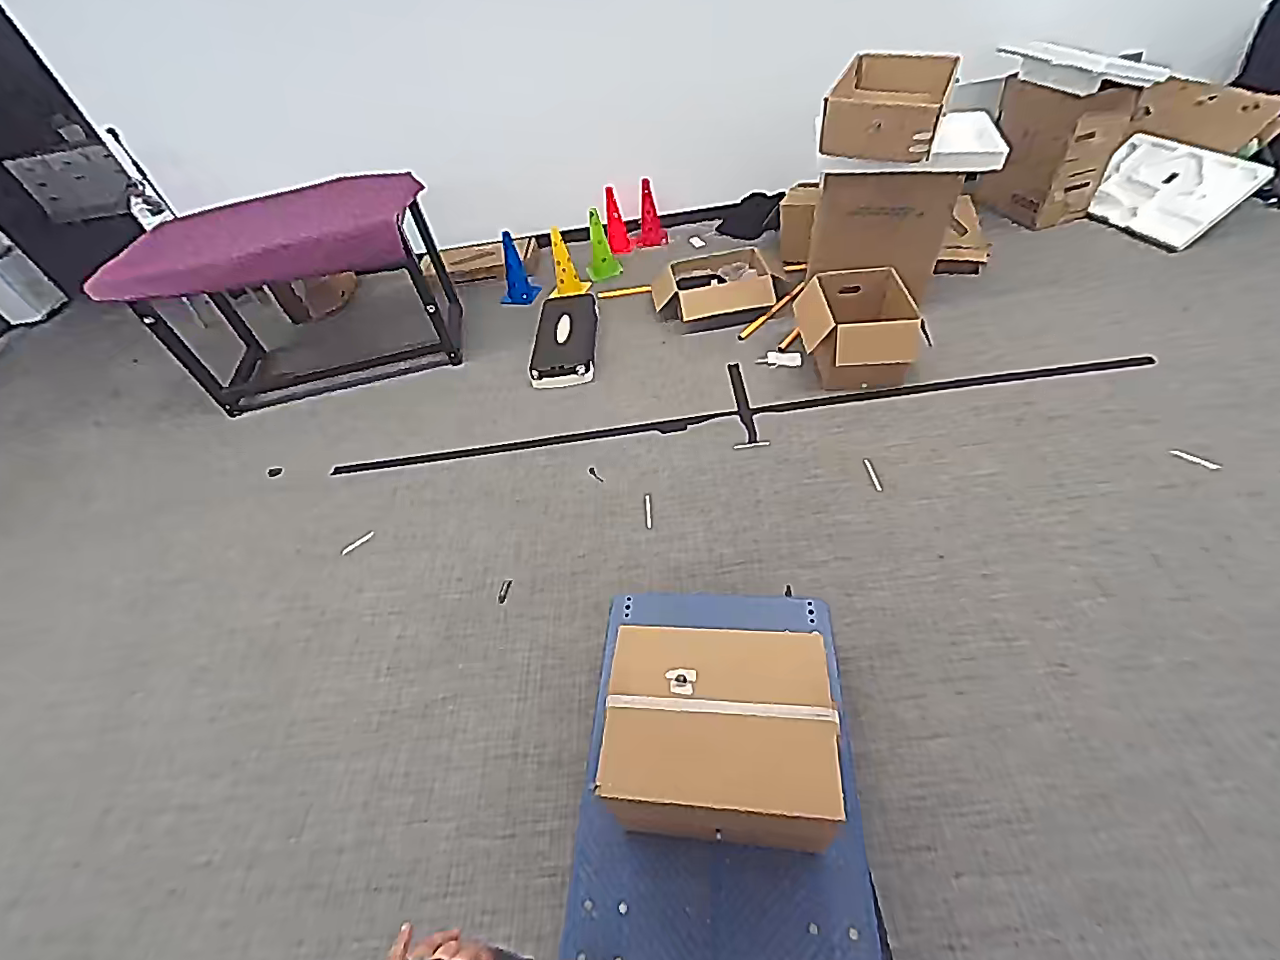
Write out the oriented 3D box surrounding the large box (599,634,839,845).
[{"bbox_3d":[0.161,0.525,1.099,0.408,0.320,0.320,-1,47,11],"label":"large box"}]
